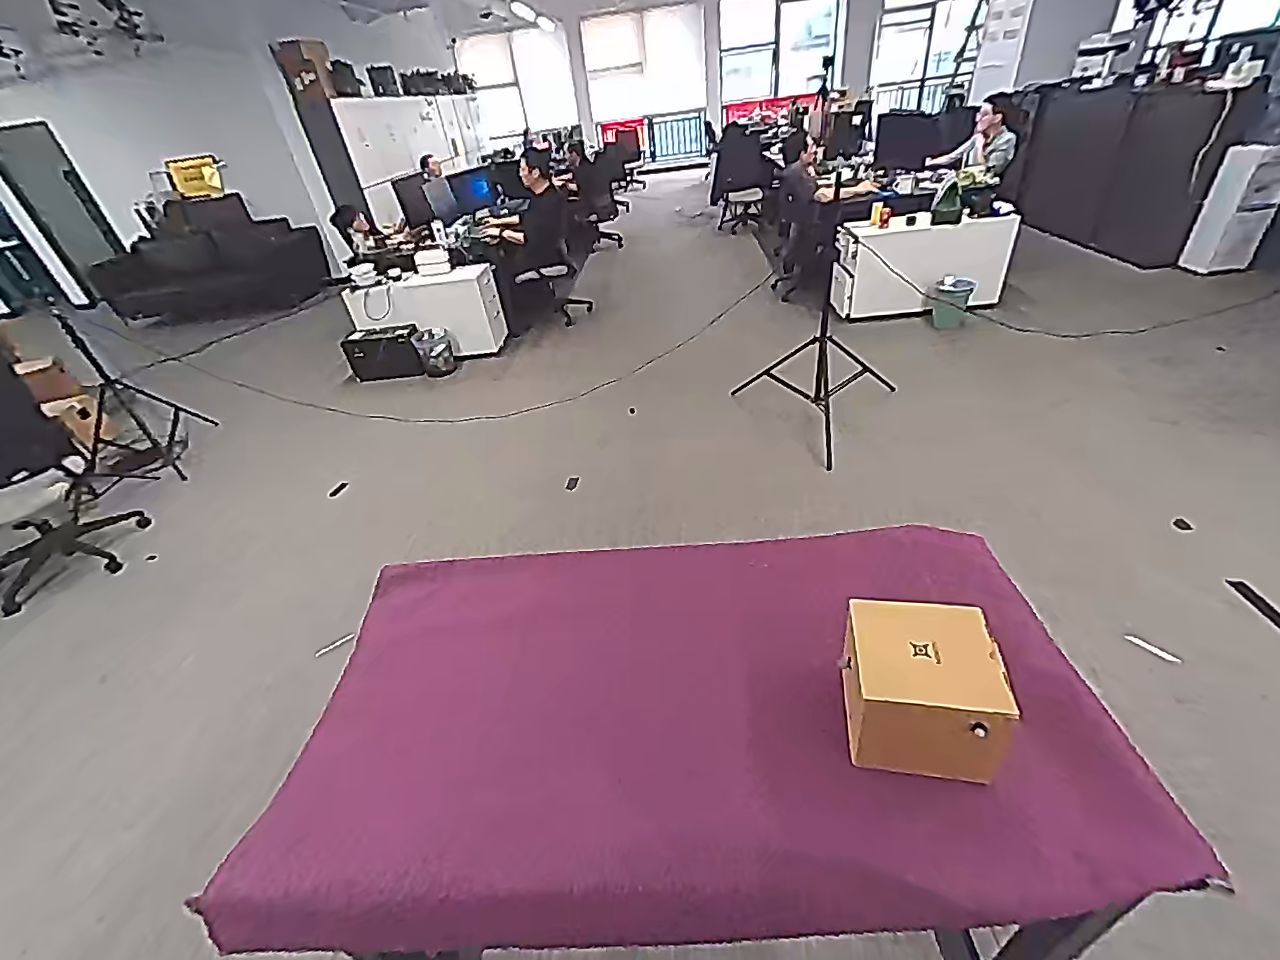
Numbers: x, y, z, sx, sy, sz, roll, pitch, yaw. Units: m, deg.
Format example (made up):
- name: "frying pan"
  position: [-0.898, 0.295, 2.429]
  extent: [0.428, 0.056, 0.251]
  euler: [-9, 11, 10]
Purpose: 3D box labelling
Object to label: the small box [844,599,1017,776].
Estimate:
- name: "small box"
  position: [0.386, 0.289, 0.760]
  extent: [0.179, 0.176, 0.168]
  euler: [0, 36, 13]
